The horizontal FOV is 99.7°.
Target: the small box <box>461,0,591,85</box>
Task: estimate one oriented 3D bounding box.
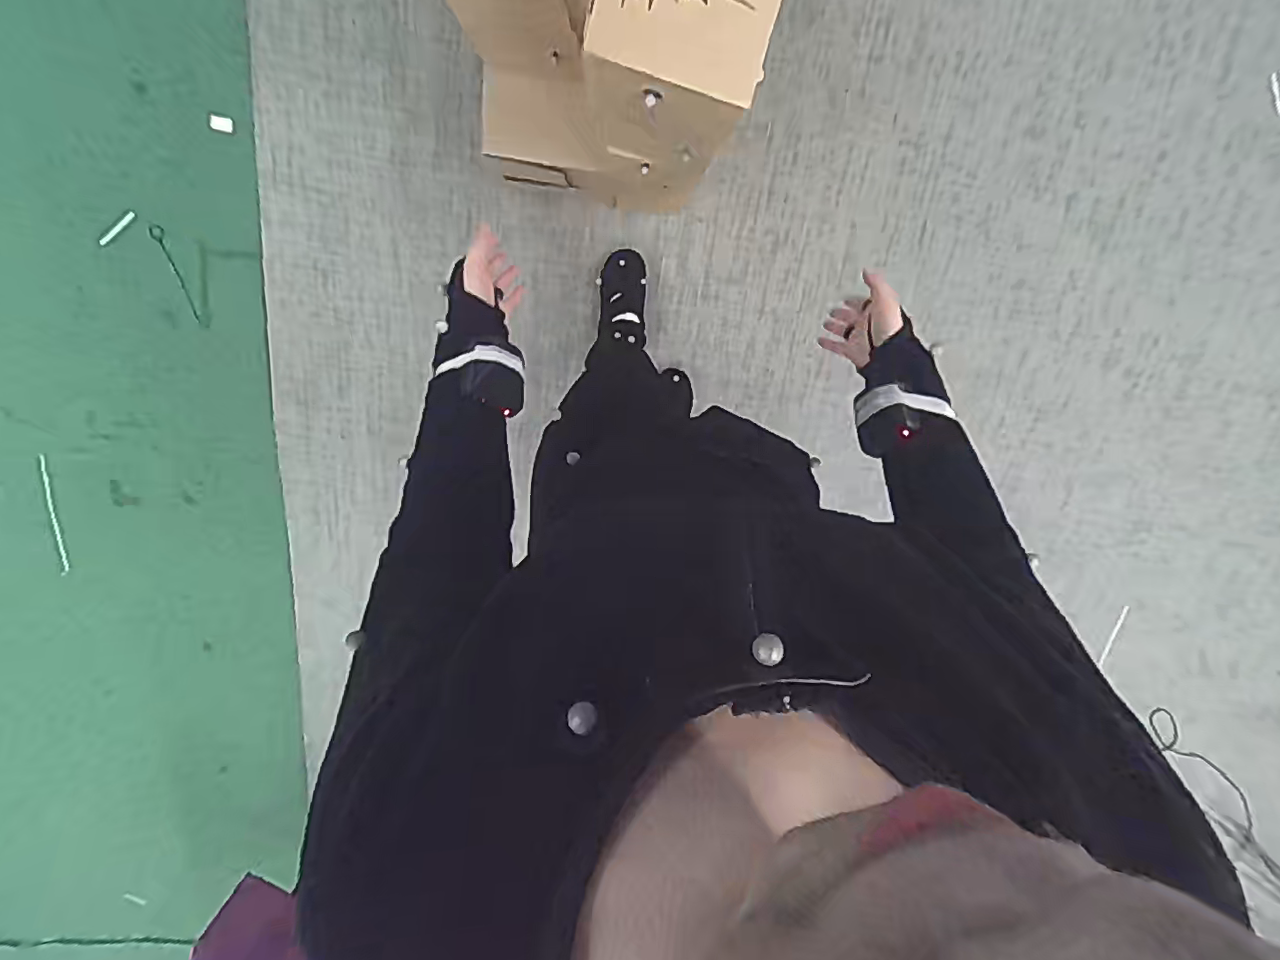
[{"bbox_3d":[-0.172,-0.758,0.856,0.179,0.176,0.168,5,105,-1],"label":"small box"}]

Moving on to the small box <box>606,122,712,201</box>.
[{"bbox_3d":[0.041,-0.592,0.903,0.168,0.176,0.179,11,106,-4],"label":"small box"}]

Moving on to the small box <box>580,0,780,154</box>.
[{"bbox_3d":[0.043,-0.486,0.591,0.179,0.176,0.168,15,107,-7],"label":"small box"}]

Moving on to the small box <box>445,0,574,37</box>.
[{"bbox_3d":[-0.178,-0.717,0.699,0.179,0.176,0.168,6,105,-3],"label":"small box"}]
